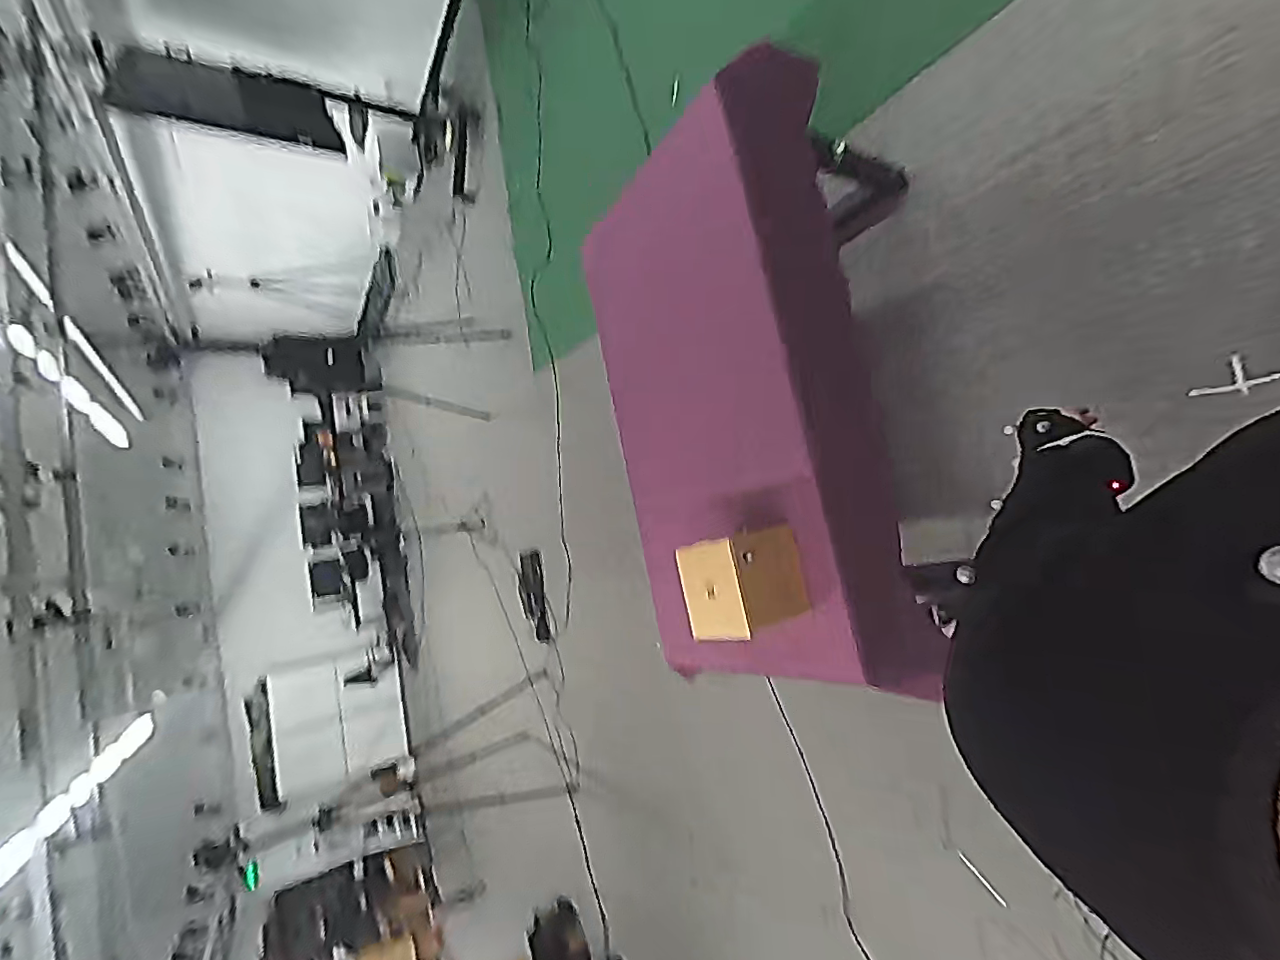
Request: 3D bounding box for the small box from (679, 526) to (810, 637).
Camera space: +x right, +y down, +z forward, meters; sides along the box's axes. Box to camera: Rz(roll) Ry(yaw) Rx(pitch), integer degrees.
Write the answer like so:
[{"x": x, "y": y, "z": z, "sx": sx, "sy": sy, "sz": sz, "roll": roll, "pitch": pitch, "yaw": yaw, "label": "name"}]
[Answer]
[{"x": 0.203, "y": 0.197, "z": 1.050, "sx": 0.168, "sy": 0.176, "sz": 0.179, "roll": -25, "pitch": 73, "yaw": 55, "label": "small box"}]
